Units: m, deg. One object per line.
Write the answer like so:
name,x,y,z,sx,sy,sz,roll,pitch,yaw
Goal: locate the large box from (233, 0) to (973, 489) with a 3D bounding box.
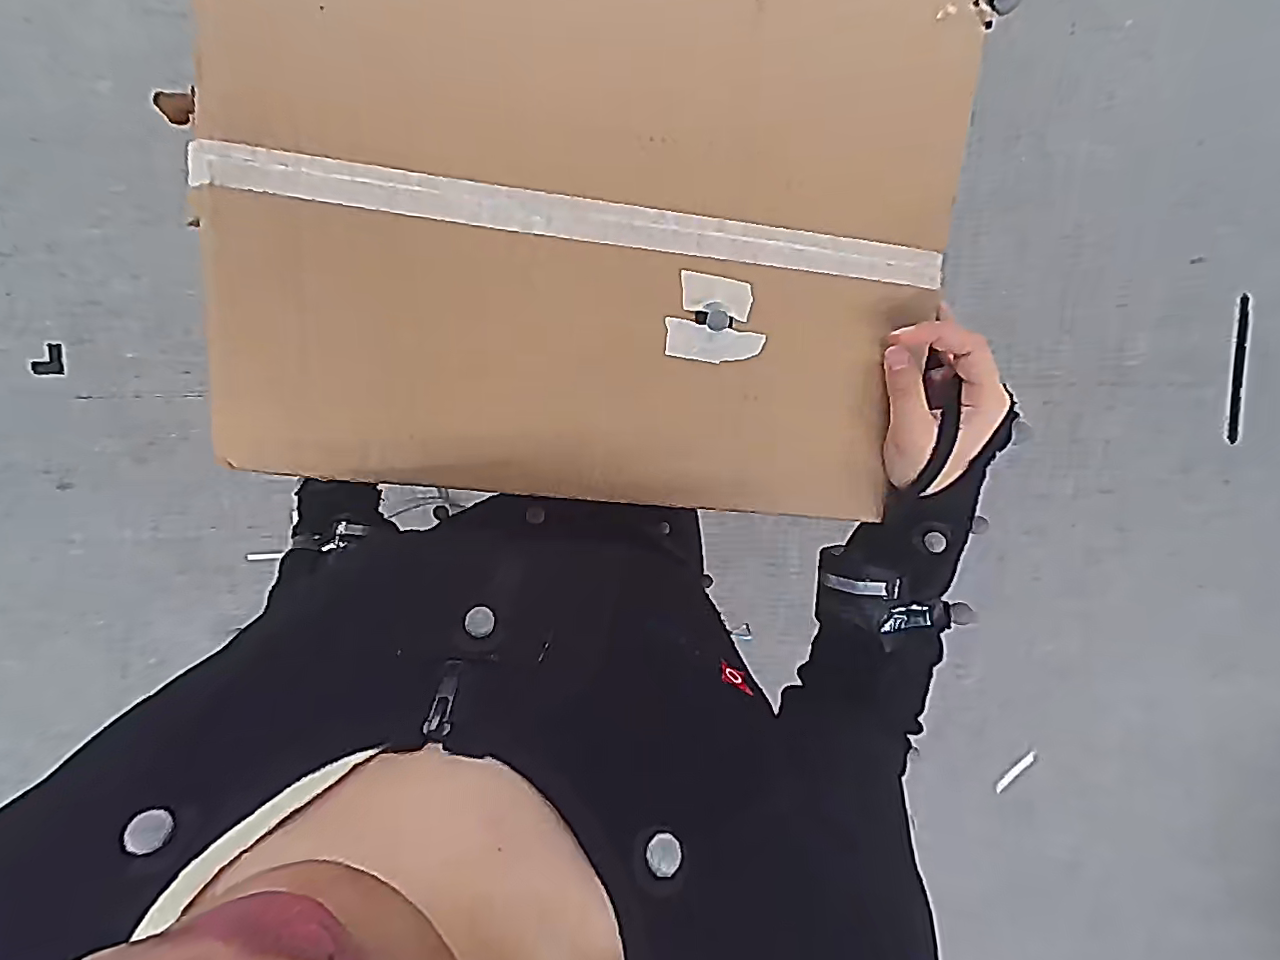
large box,-0.036,-0.182,0.453,0.408,0.320,0.320,5,101,-10
